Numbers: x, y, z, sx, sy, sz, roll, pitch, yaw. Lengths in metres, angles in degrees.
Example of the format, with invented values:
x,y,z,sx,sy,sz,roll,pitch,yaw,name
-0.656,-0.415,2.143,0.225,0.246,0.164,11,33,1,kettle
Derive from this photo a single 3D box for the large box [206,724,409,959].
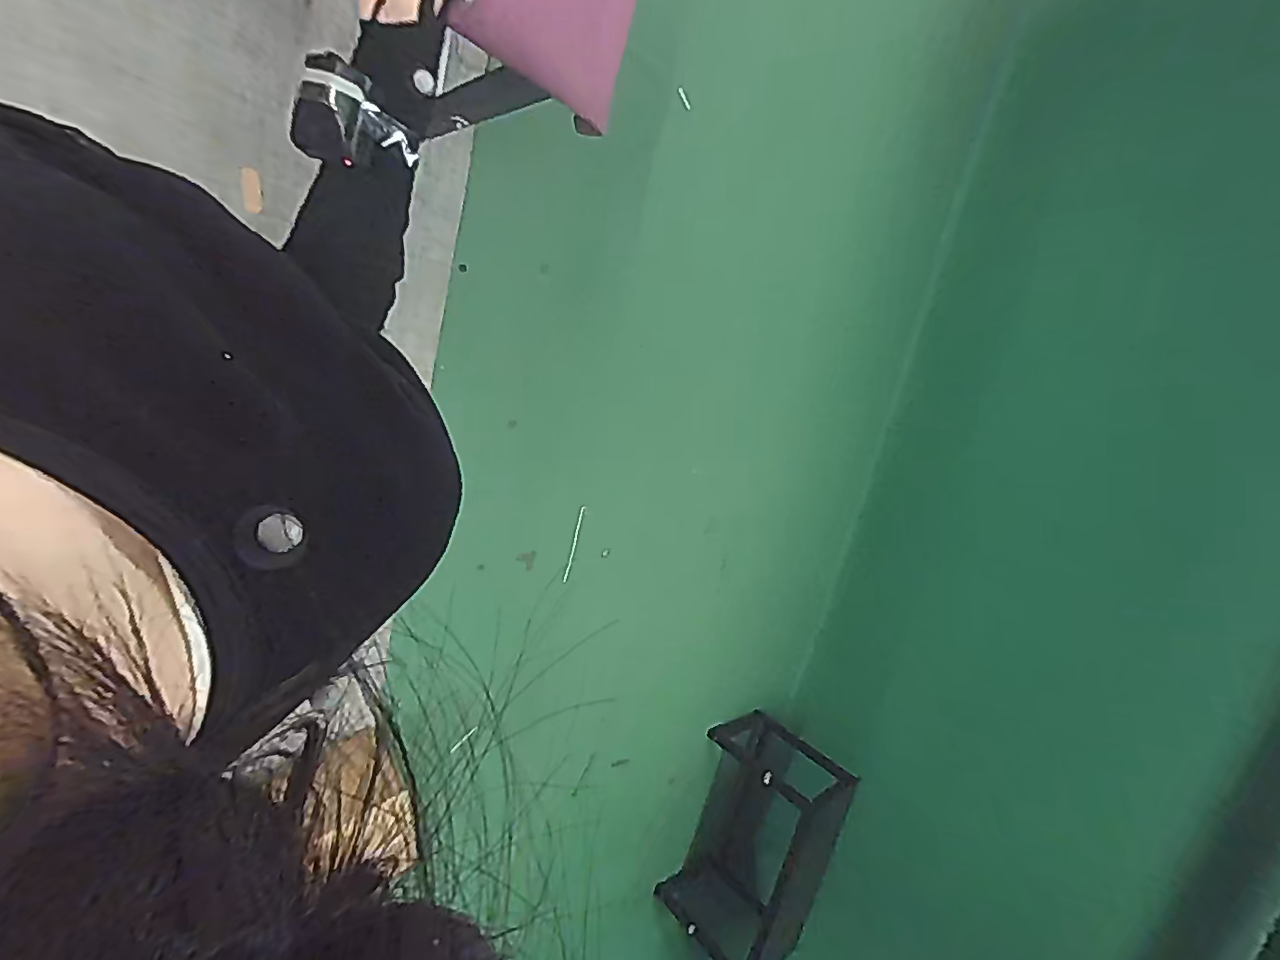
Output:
x,y,z,sx,sy,sz,roll,pitch,yaw,name
-0.935,0.994,1.542,0.408,0.320,0.320,-16,119,-42,large box

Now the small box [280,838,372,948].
x,y,z,sx,sy,sz,roll,pitch,yaw,name
-0.784,1.042,1.350,0.168,0.176,0.179,-8,112,-43,small box
